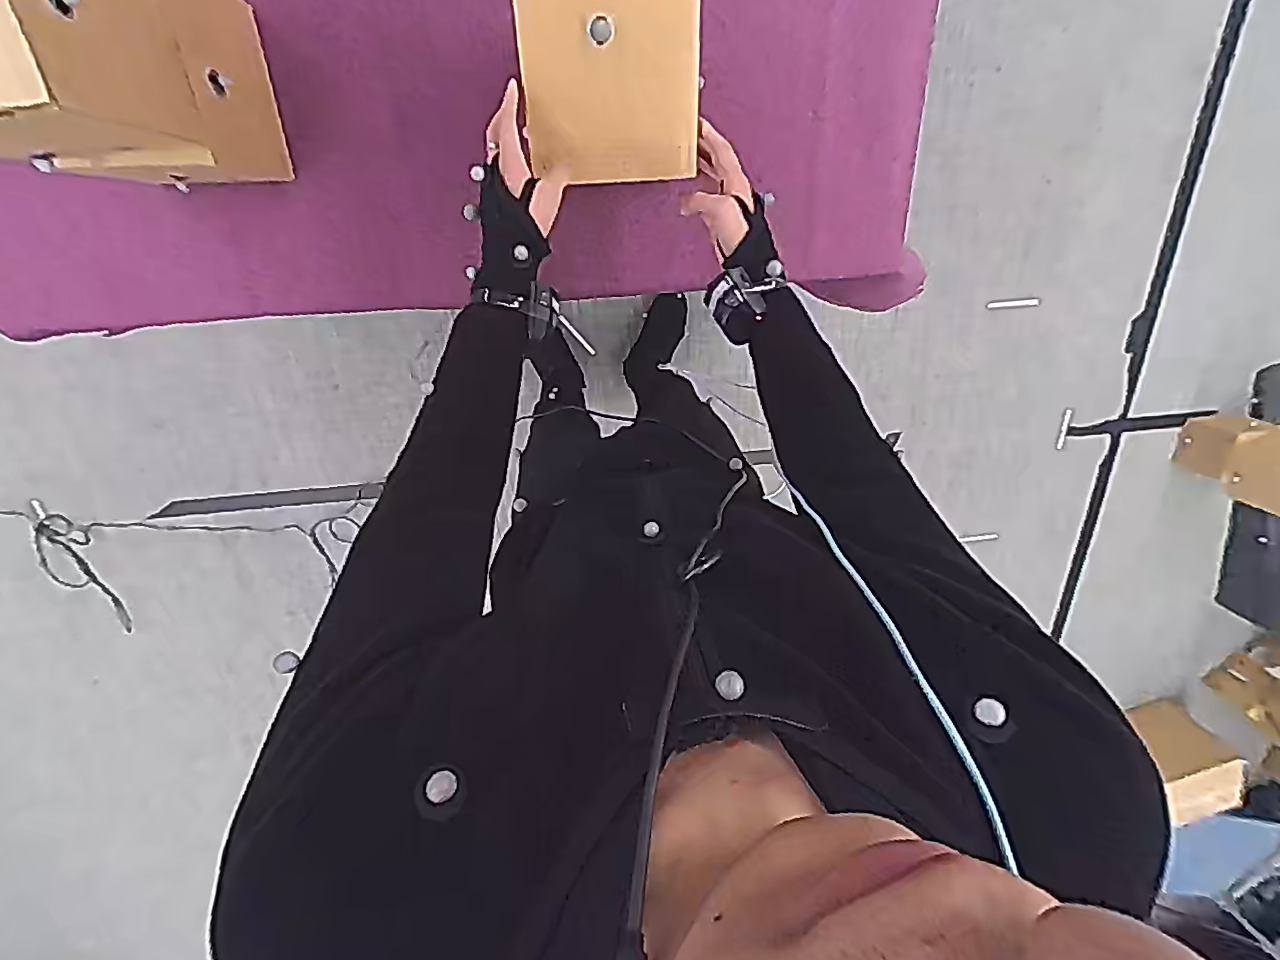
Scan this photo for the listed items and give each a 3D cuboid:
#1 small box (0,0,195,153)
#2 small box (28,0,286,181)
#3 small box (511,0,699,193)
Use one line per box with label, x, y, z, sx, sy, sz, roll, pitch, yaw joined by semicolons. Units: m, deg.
small box;-0.495;-0.357;0.405;0.168;0.176;0.179;-7;114;-3
small box;-0.507;-0.414;0.559;0.168;0.176;0.179;-3;114;-6
small box;-0.037;-0.421;0.598;0.179;0.168;0.176;-5;121;-4
